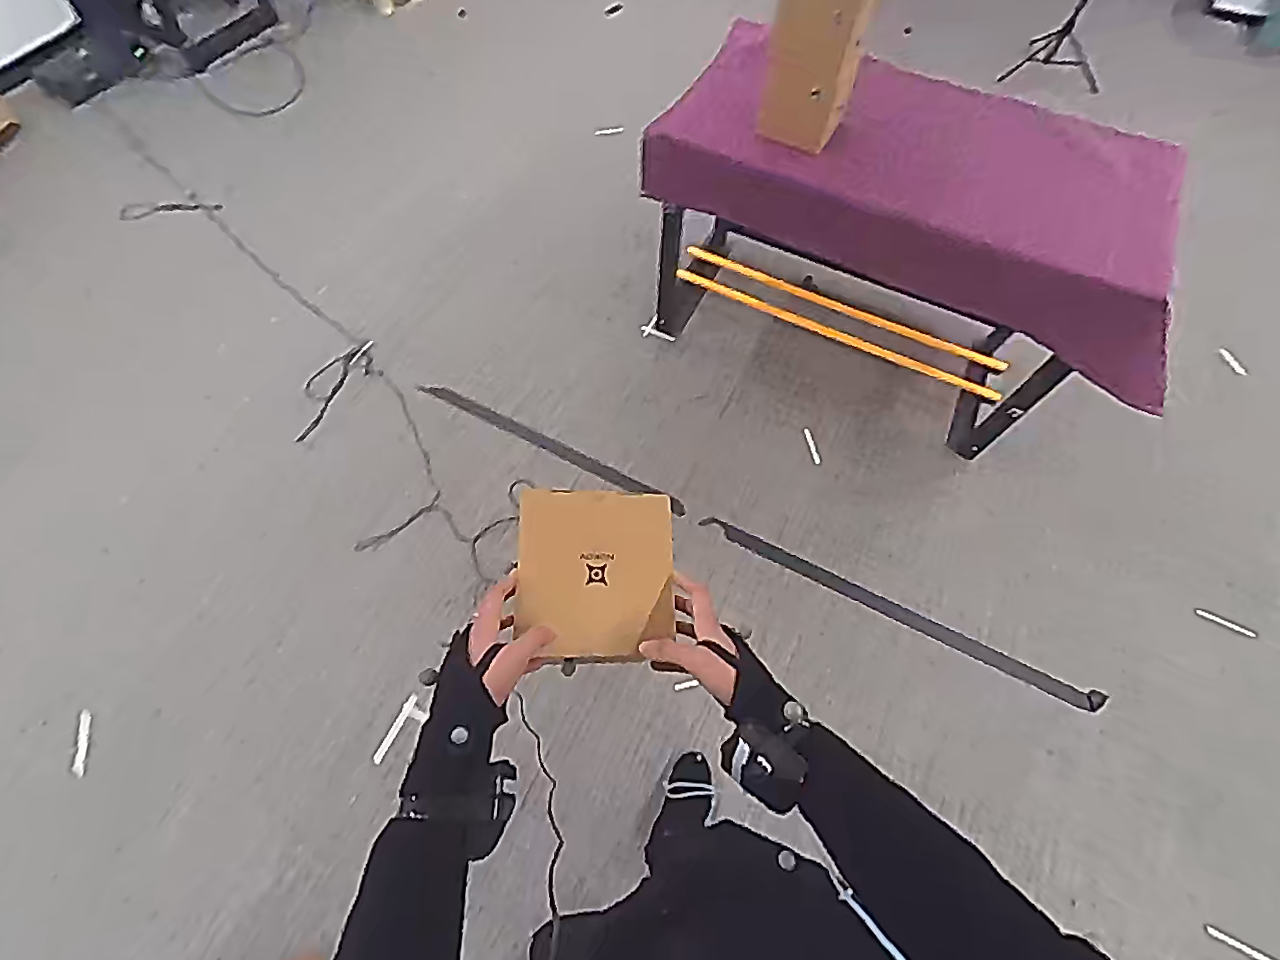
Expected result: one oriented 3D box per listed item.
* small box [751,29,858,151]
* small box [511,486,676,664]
[{"bbox_3d":[0.393,-0.939,1.313,0.179,0.176,0.168,27,65,11],"label":"small box"},{"bbox_3d":[-0.059,0.120,0.632,0.168,0.176,0.179,3,67,-11],"label":"small box"}]
